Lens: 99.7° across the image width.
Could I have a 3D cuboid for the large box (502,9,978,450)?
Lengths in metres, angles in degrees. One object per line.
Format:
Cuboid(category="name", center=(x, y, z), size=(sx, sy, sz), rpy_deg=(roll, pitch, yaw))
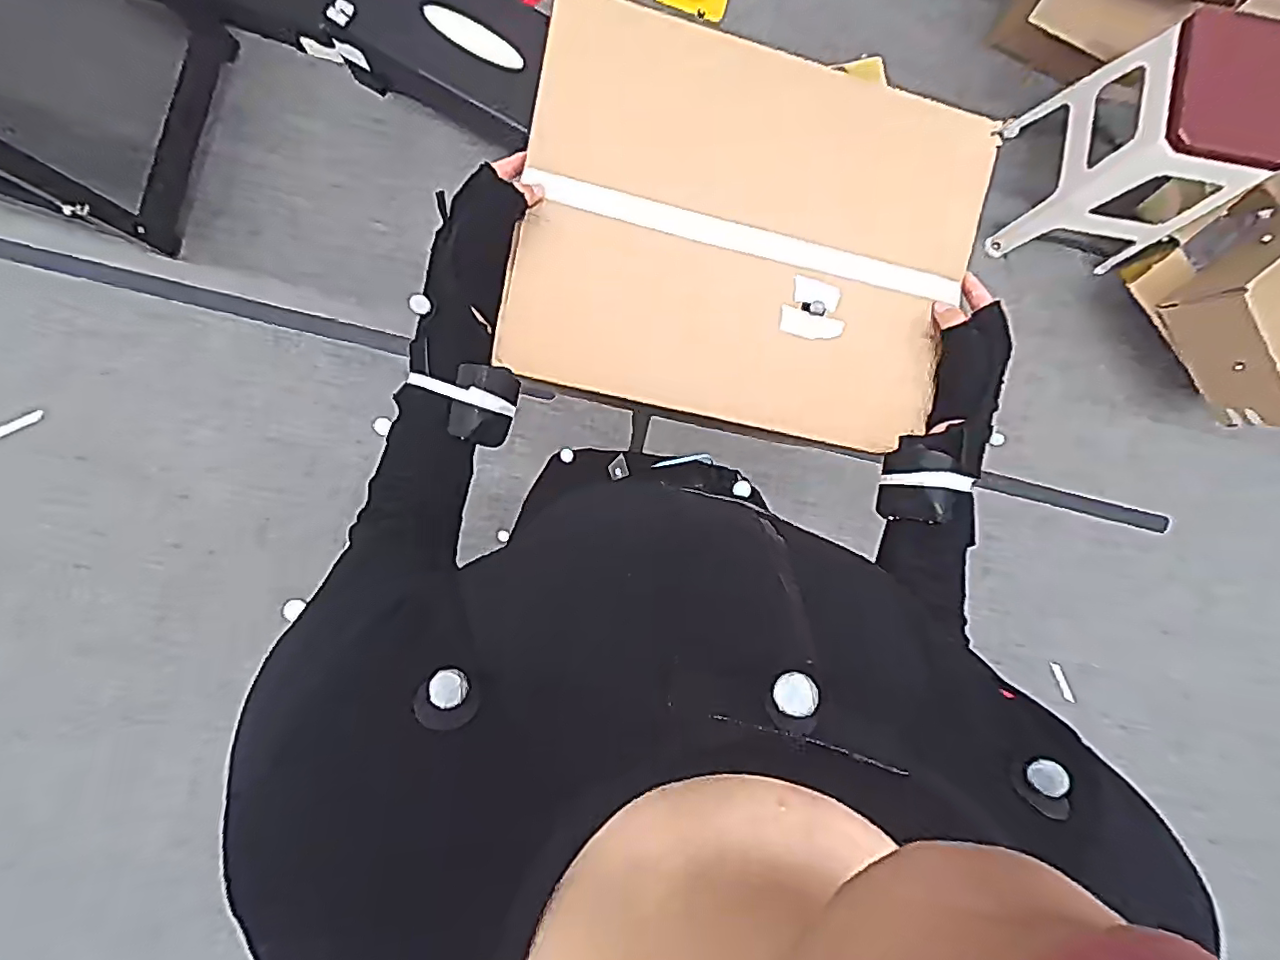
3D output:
Cuboid(category="large box", center=(0.077, -0.229, 0.637), size=(0.408, 0.320, 0.320), rpy_deg=(11, 97, -9))
